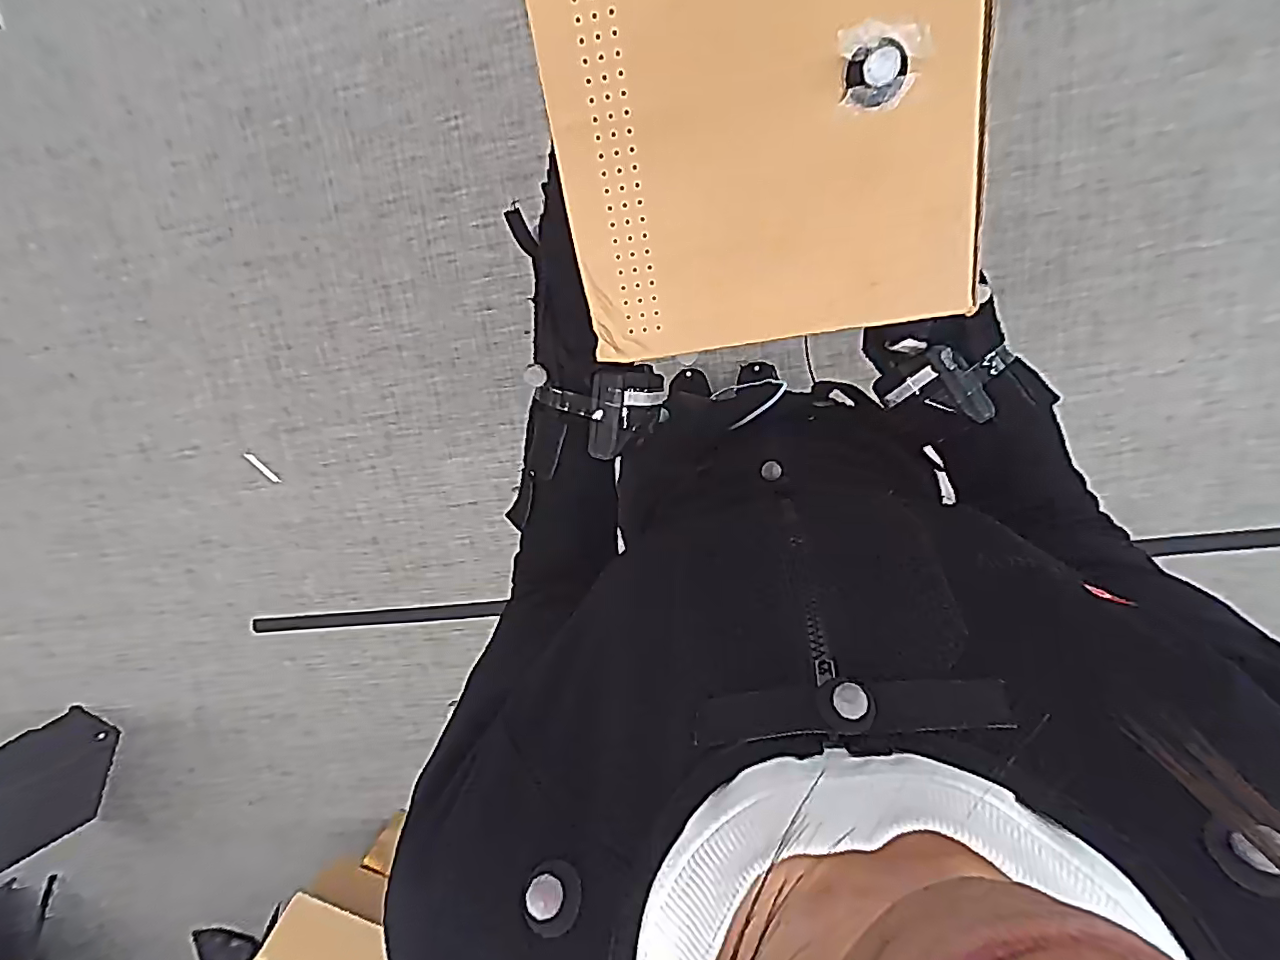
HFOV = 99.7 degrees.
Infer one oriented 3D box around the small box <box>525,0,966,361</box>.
[{"bbox_3d":[0.050,-0.176,0.294,0.176,0.168,0.179,-6,112,10],"label":"small box"}]
